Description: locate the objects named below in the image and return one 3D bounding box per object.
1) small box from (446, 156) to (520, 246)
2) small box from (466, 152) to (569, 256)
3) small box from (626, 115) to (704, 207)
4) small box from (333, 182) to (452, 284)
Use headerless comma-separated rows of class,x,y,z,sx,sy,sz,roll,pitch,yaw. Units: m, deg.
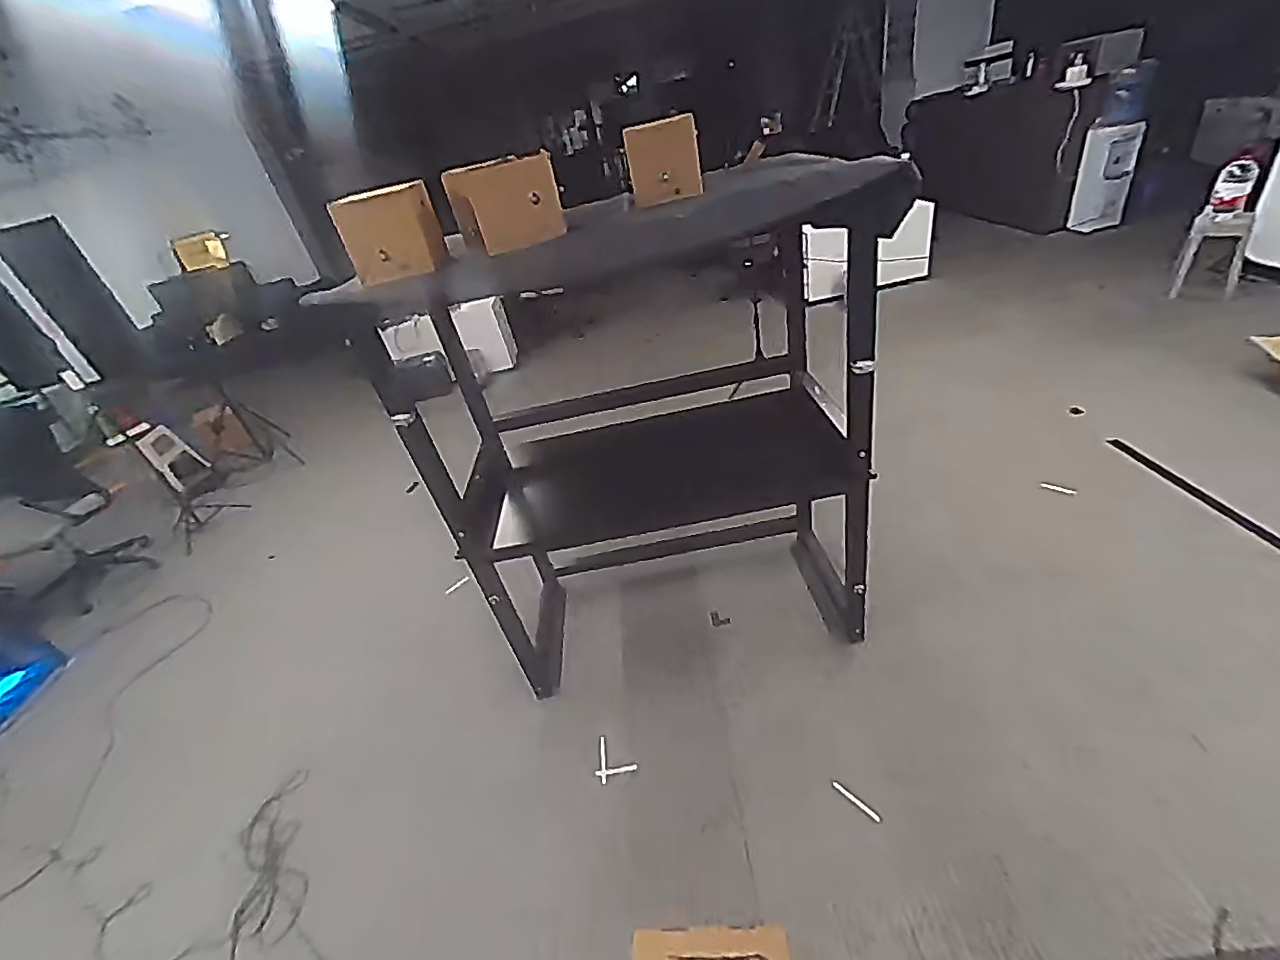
small box,-0.372,-0.715,1.391,0.168,0.176,0.179,-11,33,4
small box,-0.259,-0.612,1.198,0.179,0.176,0.168,-12,31,1
small box,0.063,-0.793,1.348,0.168,0.176,0.179,-10,34,6
small box,-0.536,-0.548,1.200,0.168,0.176,0.179,-13,34,0
